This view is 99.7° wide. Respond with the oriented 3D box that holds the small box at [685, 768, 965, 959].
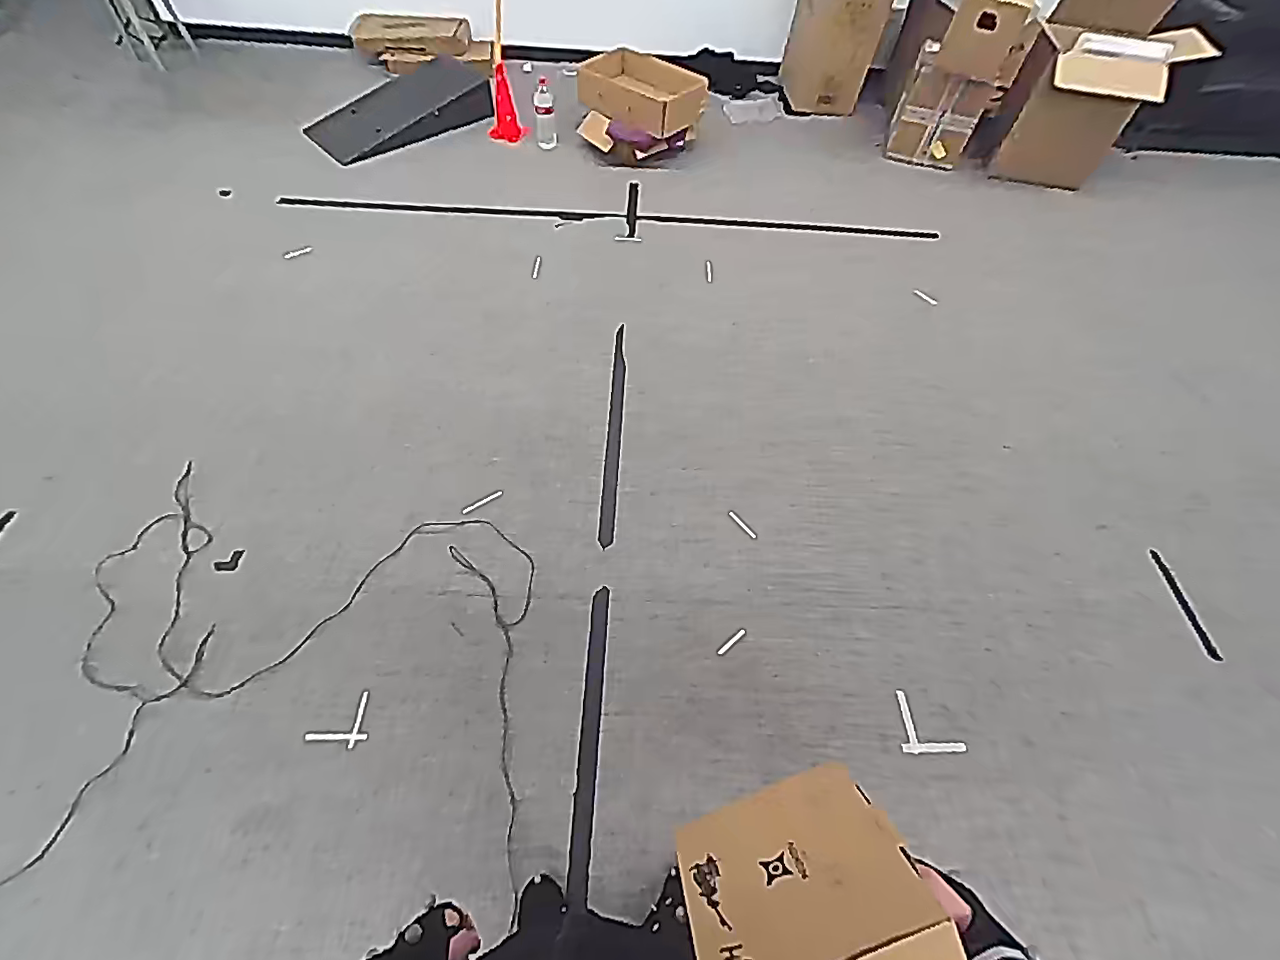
[{"bbox_3d":[0.157,0.396,0.458,0.179,0.168,0.176,-21,97,-2],"label":"small box"}]
